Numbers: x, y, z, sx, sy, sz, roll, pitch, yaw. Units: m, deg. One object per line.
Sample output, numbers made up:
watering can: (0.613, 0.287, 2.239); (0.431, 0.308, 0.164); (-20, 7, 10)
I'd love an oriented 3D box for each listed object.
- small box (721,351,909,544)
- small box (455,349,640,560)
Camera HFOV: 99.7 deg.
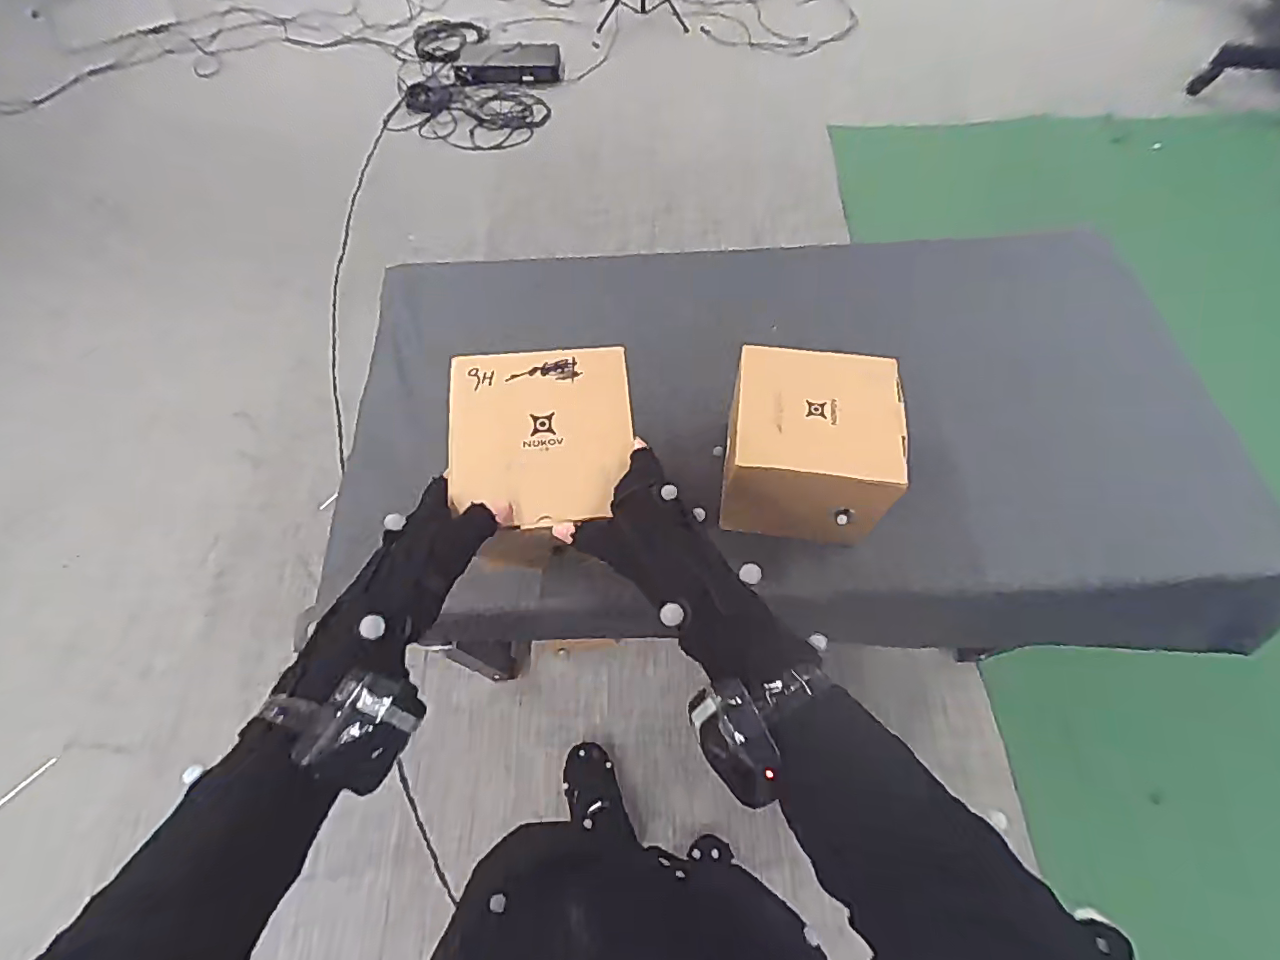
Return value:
small box: (0.200, -0.032, 0.657); (0.179, 0.176, 0.168); (6, 62, 6)
small box: (-0.088, -0.015, 0.572); (0.168, 0.176, 0.179); (-4, 71, -4)
